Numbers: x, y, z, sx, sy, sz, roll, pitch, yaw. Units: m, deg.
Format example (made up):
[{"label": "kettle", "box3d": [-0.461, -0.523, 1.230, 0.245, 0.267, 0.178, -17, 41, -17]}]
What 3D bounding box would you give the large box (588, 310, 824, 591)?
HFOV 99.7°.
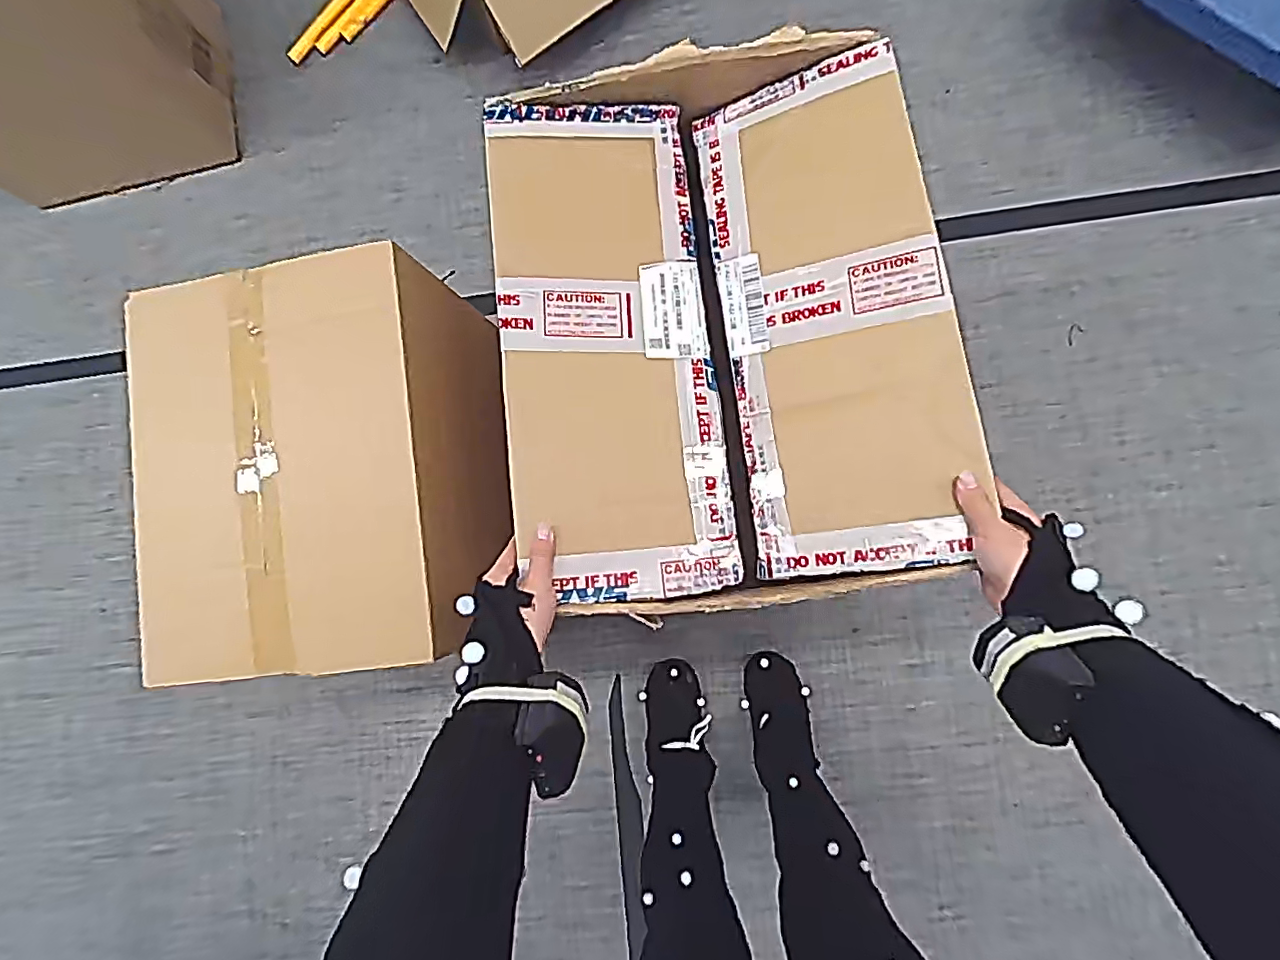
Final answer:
[{"label": "large box", "box3d": [0.104, -0.037, 0.972, 0.320, 0.320, 0.408, -8, 84, 4]}]
